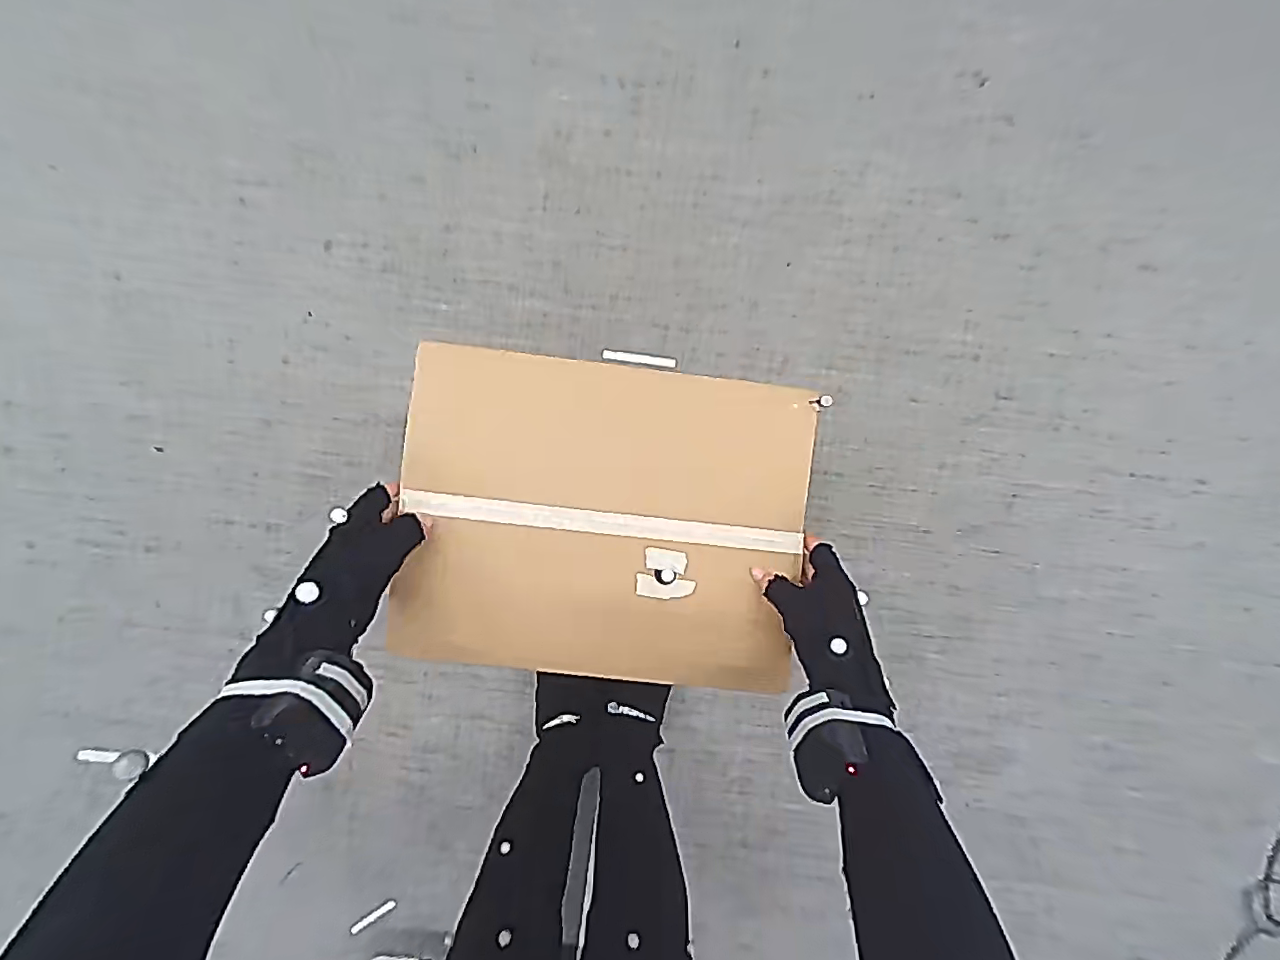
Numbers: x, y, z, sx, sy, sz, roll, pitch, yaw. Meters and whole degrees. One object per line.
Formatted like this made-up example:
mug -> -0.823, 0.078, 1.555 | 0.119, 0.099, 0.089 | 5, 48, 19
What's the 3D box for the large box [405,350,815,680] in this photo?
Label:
large box -> -0.037, 0.040, 0.706 | 0.408, 0.320, 0.320 | 7, 91, -3
